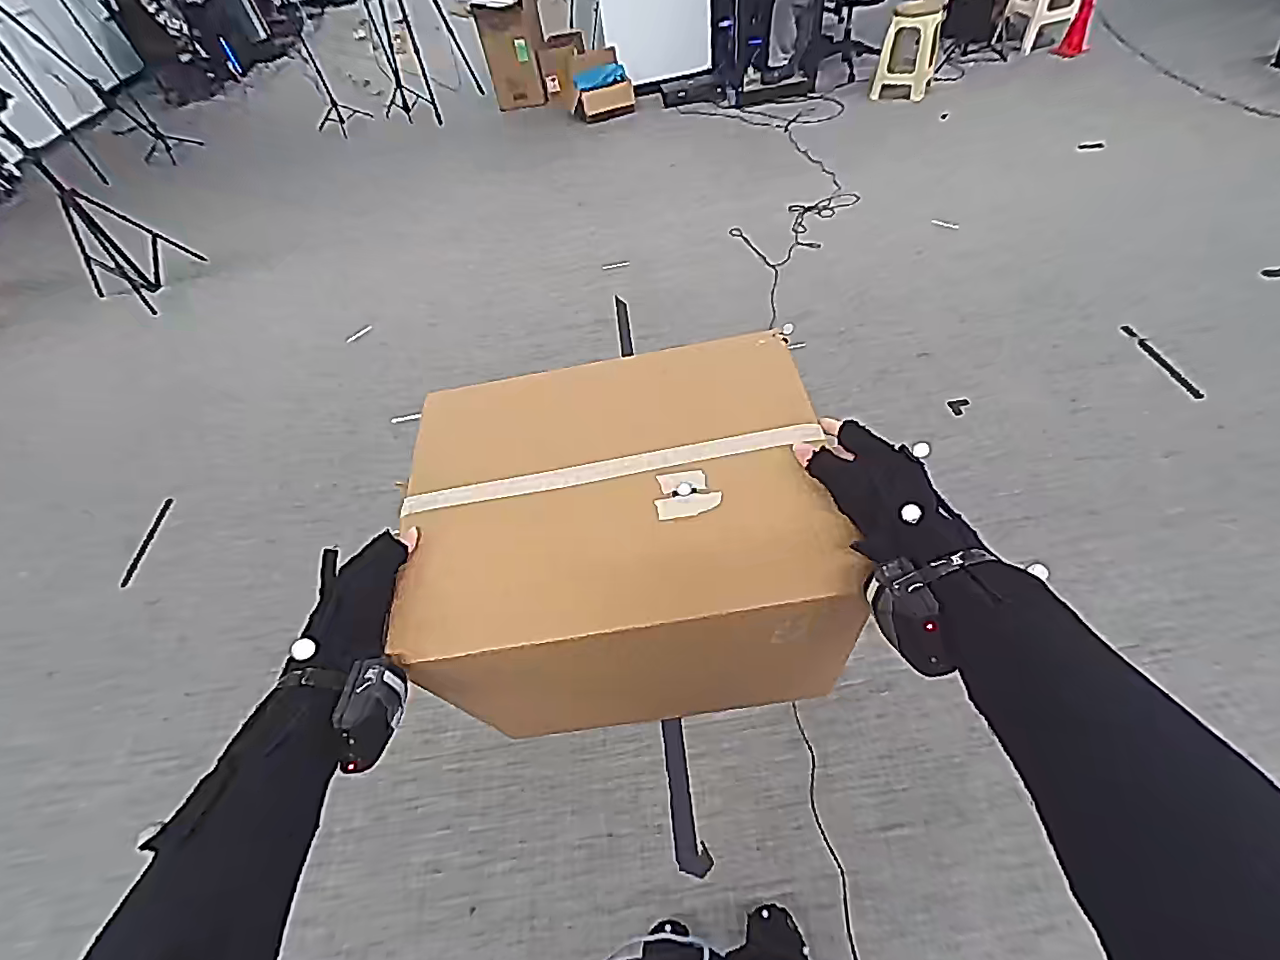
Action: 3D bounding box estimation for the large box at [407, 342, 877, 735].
[{"bbox_3d":[0.000,0.084,0.649,0.408,0.320,0.320,-9,54,3],"label":"large box"}]
